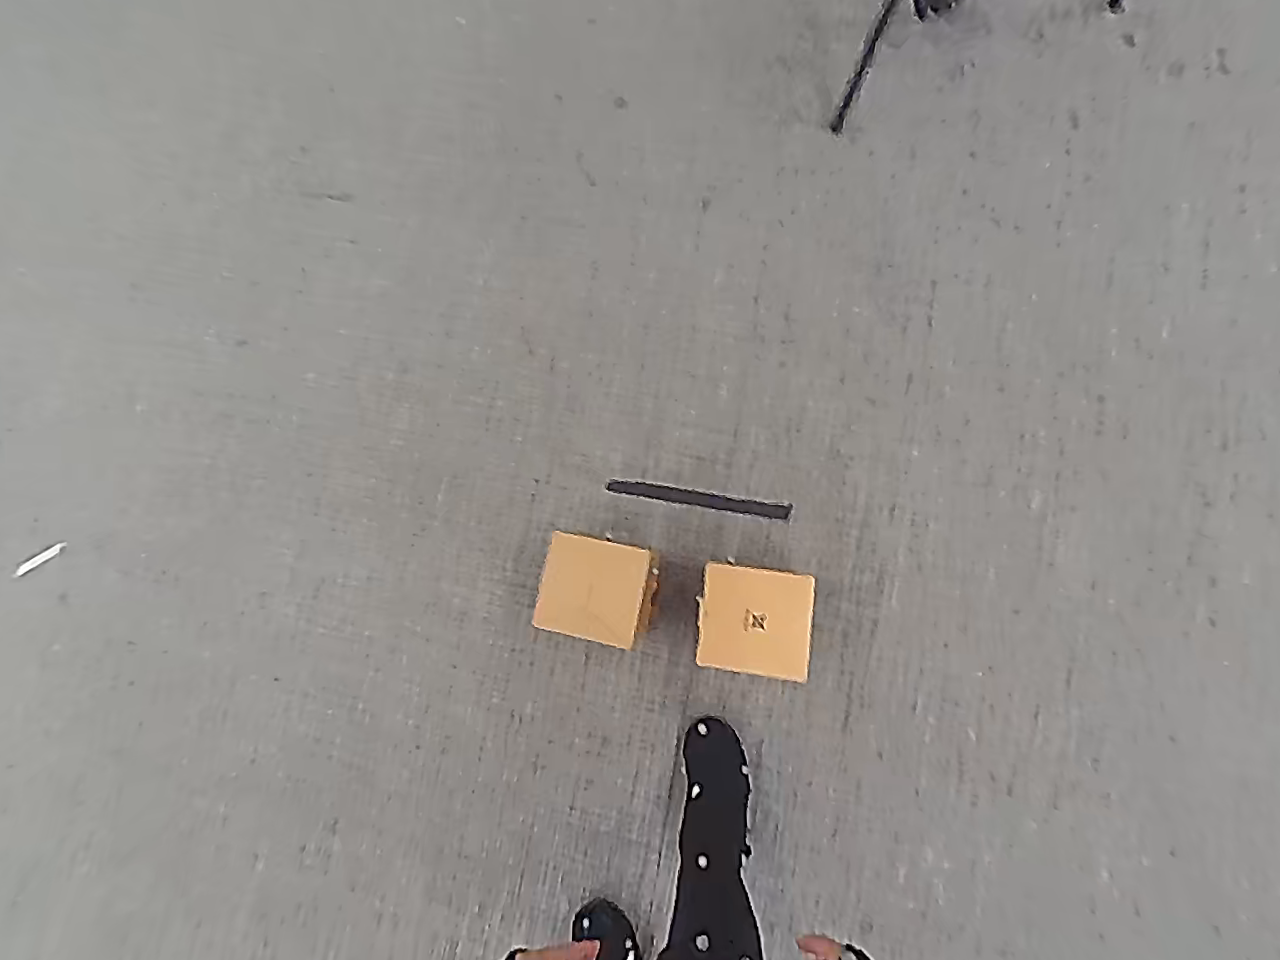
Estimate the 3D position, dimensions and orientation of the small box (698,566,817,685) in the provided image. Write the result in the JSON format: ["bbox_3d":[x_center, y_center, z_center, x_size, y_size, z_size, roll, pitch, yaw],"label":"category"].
[{"bbox_3d":[0.199,0.243,0.945,0.179,0.176,0.168,6,83,10],"label":"small box"}]

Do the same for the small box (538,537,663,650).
[{"bbox_3d":[-0.065,0.200,0.984,0.179,0.176,0.168,11,84,9],"label":"small box"}]
